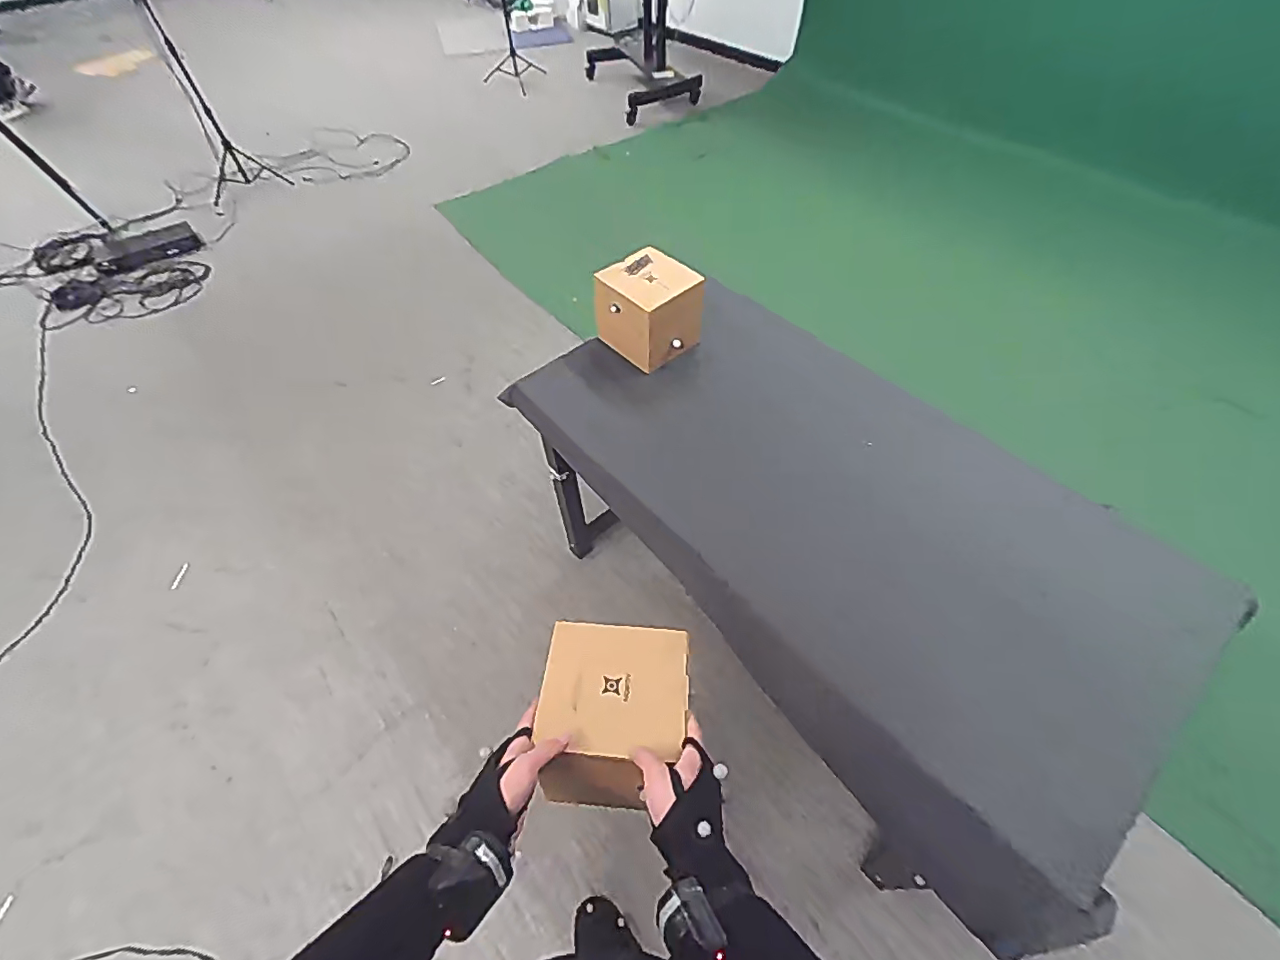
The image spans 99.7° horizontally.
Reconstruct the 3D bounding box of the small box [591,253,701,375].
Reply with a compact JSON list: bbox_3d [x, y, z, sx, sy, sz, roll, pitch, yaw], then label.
[{"bbox_3d":[0.008,-0.364,1.194,0.168,0.176,0.179,-36,62,-26],"label":"small box"}]

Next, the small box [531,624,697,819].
[{"bbox_3d":[-0.027,0.301,0.674,0.179,0.176,0.168,2,40,1],"label":"small box"}]
